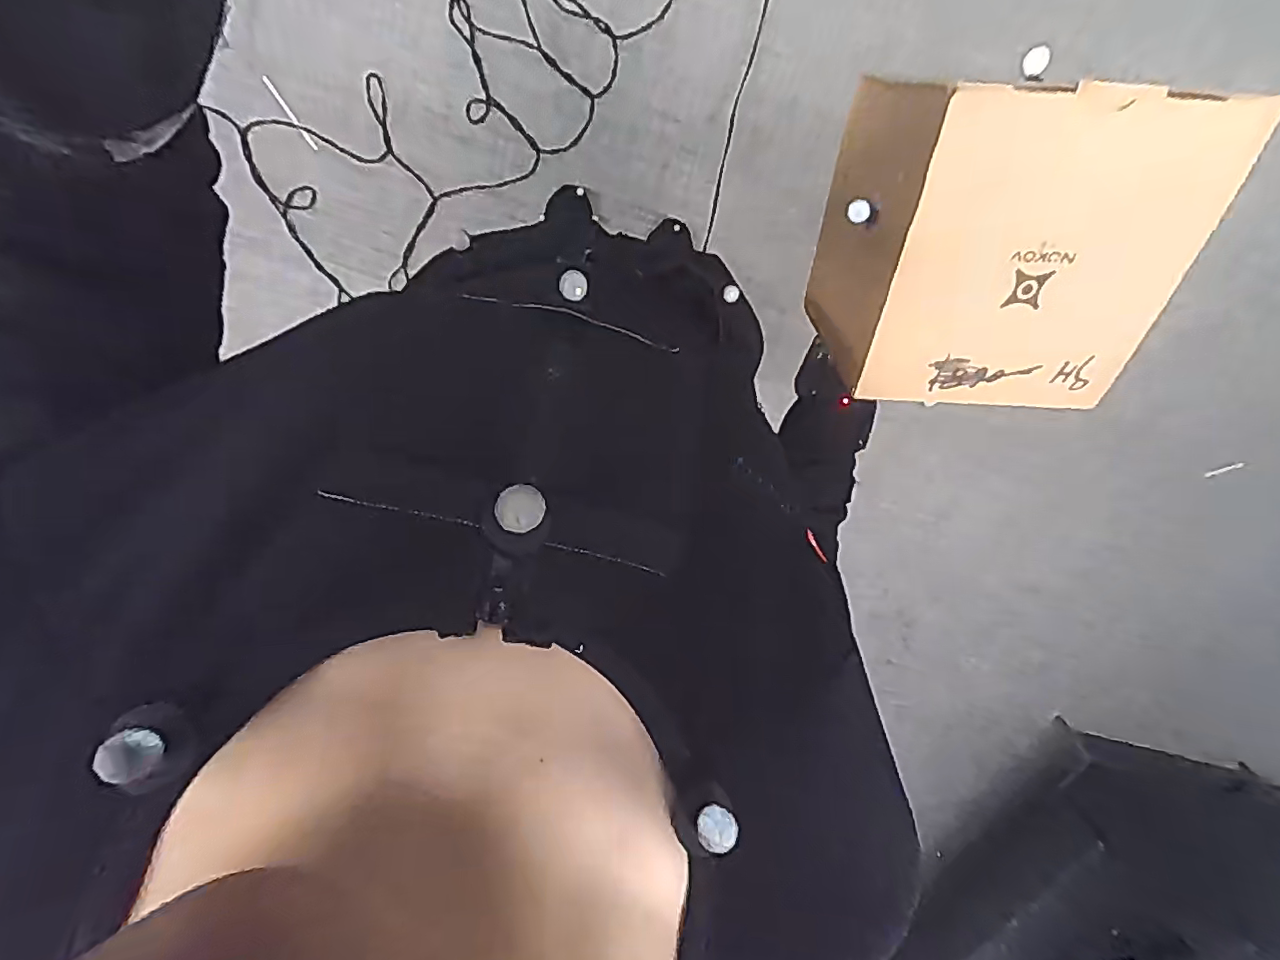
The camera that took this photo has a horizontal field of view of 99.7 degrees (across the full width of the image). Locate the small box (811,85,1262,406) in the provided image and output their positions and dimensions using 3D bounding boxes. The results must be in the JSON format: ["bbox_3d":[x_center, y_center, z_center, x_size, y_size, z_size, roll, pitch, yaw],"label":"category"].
[{"bbox_3d":[0.235,-0.172,0.387,0.168,0.176,0.179,3,128,1],"label":"small box"}]
